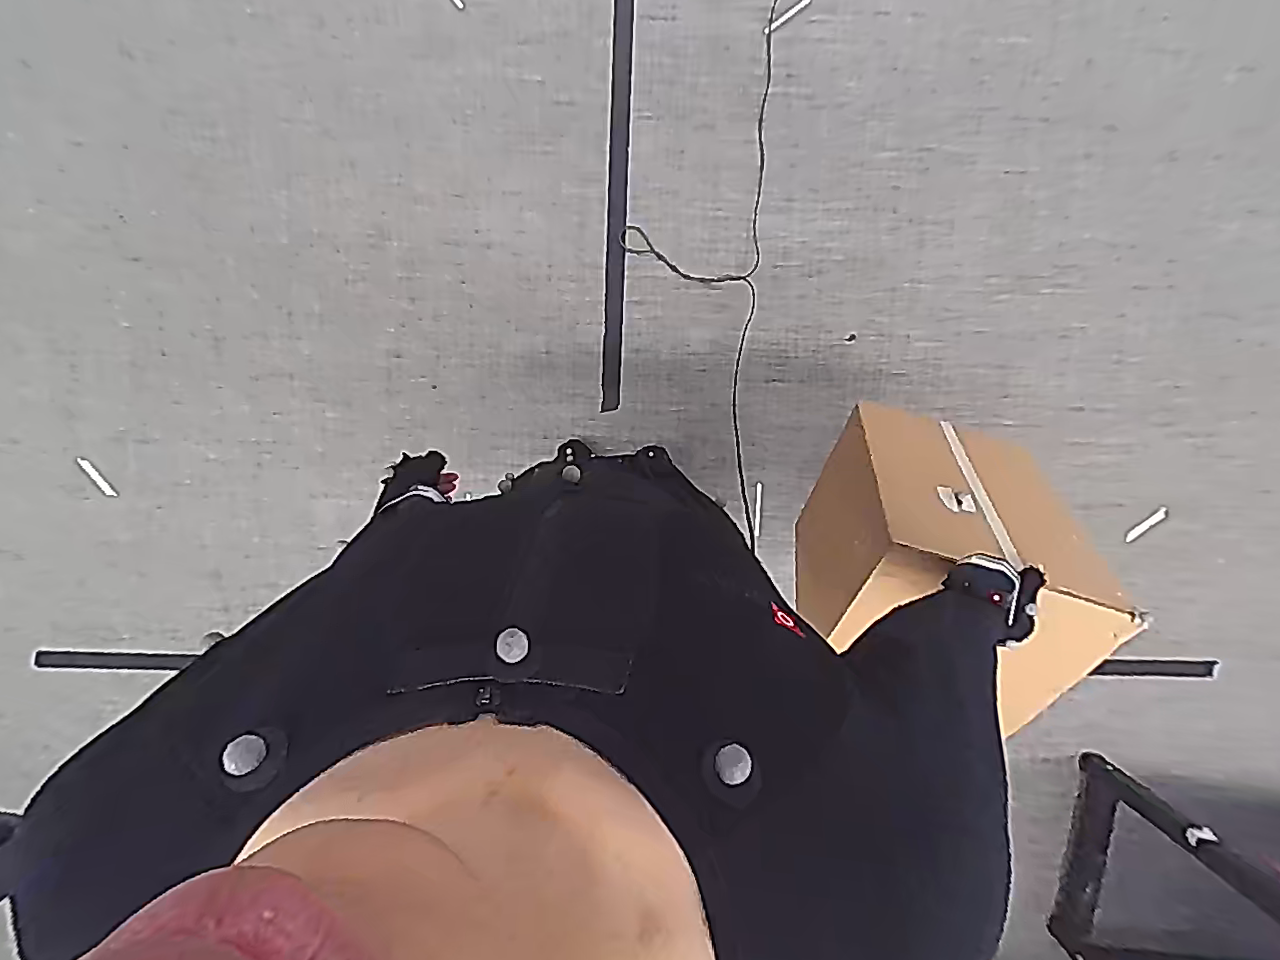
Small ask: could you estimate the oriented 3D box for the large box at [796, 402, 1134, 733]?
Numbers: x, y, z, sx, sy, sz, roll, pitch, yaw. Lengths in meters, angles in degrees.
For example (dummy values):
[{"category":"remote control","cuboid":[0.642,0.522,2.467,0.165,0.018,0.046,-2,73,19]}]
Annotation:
[{"category":"large box","cuboid":[0.472,0.129,0.915,0.320,0.408,0.320,16,128,3]}]
